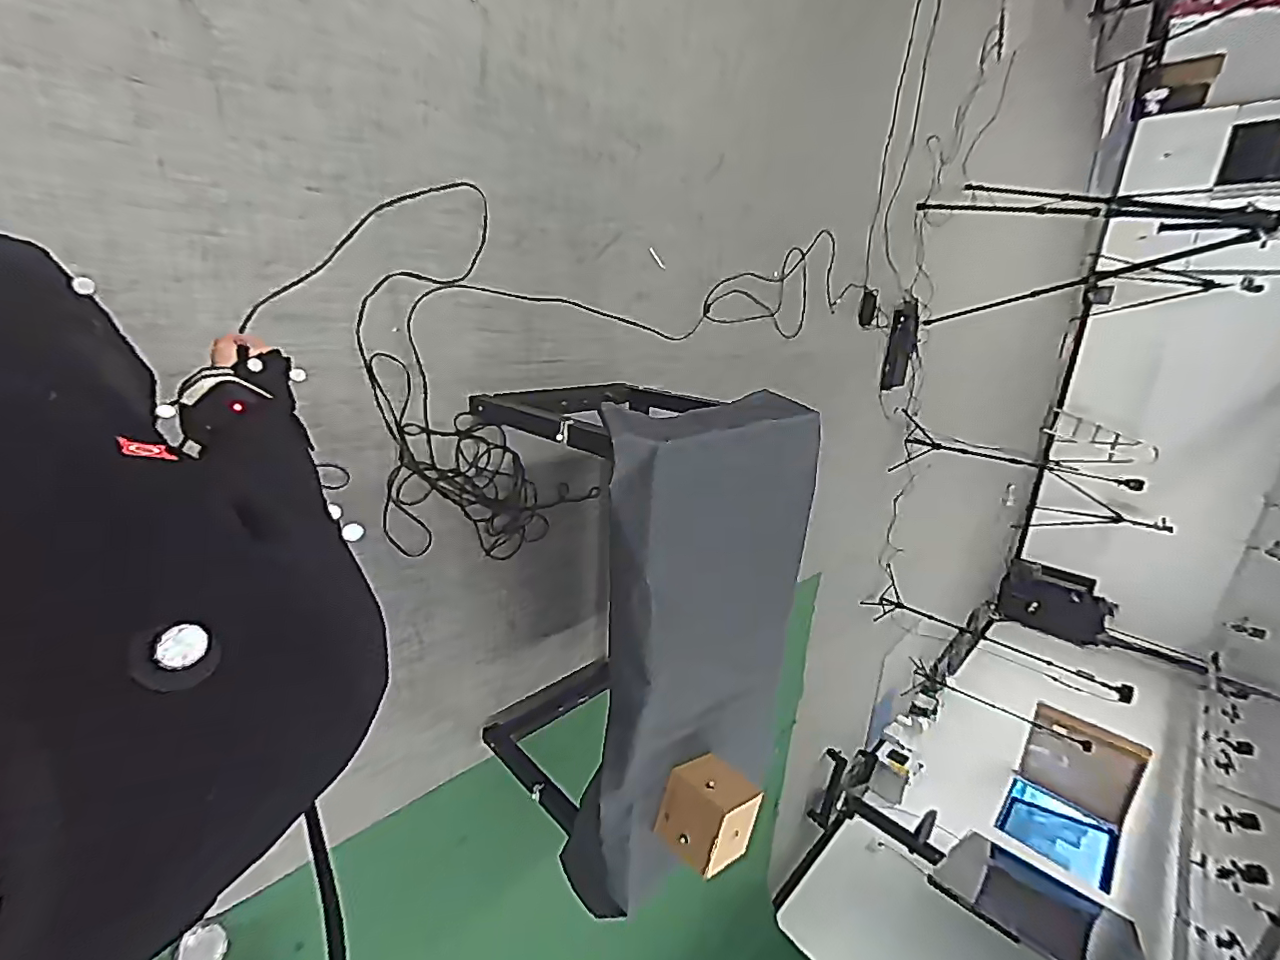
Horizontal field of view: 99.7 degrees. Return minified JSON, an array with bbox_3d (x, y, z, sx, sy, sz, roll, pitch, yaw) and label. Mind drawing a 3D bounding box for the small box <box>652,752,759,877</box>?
[{"bbox_3d":[0.155,0.800,1.314,0.179,0.176,0.168,12,97,-49],"label":"small box"}]
